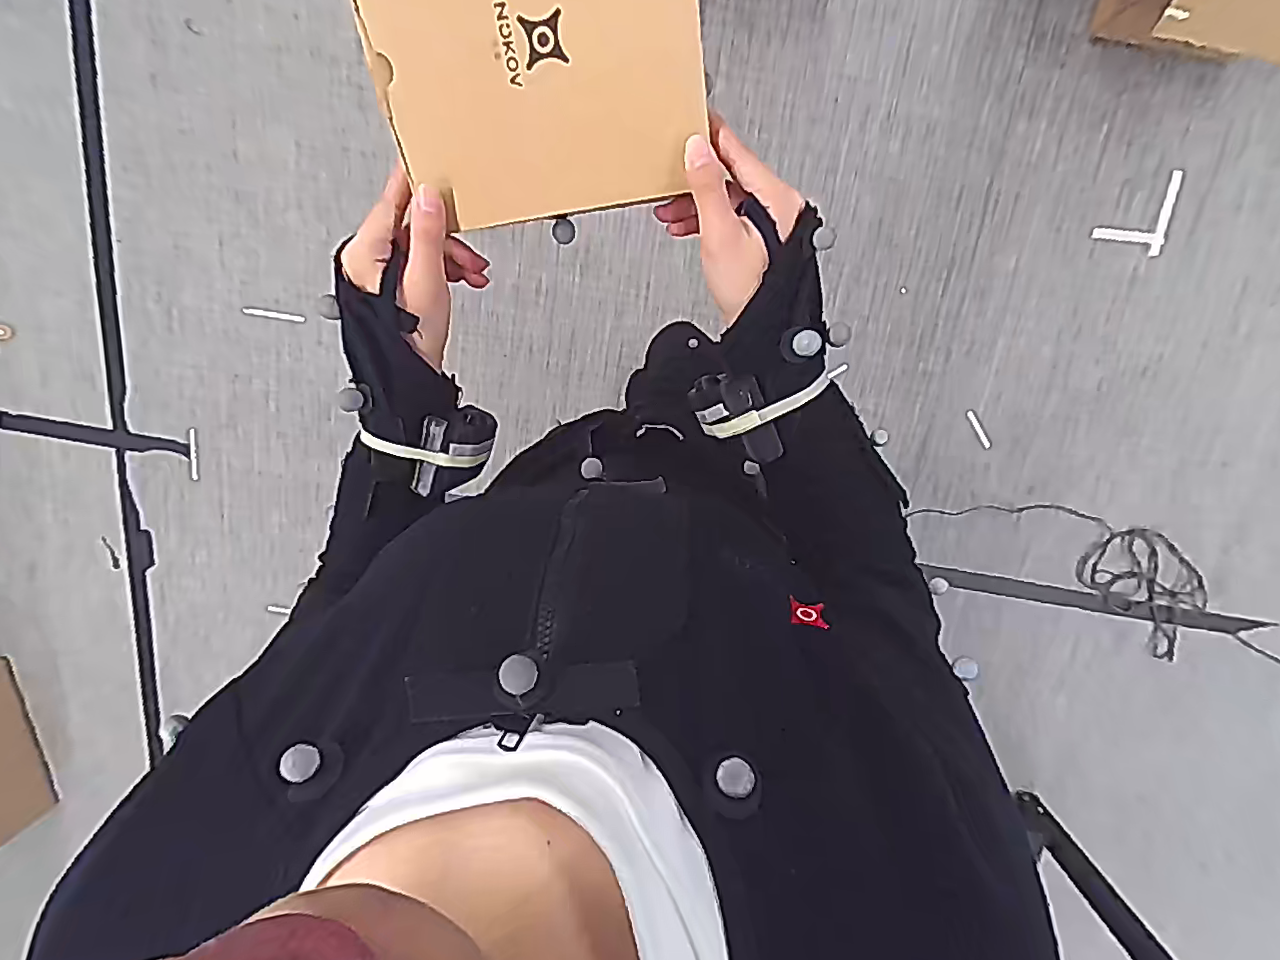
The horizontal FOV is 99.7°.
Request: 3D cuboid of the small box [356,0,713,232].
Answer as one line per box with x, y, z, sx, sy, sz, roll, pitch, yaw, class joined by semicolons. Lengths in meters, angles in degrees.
-0.056;-0.267;0.351;0.179;0.176;0.168;-8;117;3;small box
